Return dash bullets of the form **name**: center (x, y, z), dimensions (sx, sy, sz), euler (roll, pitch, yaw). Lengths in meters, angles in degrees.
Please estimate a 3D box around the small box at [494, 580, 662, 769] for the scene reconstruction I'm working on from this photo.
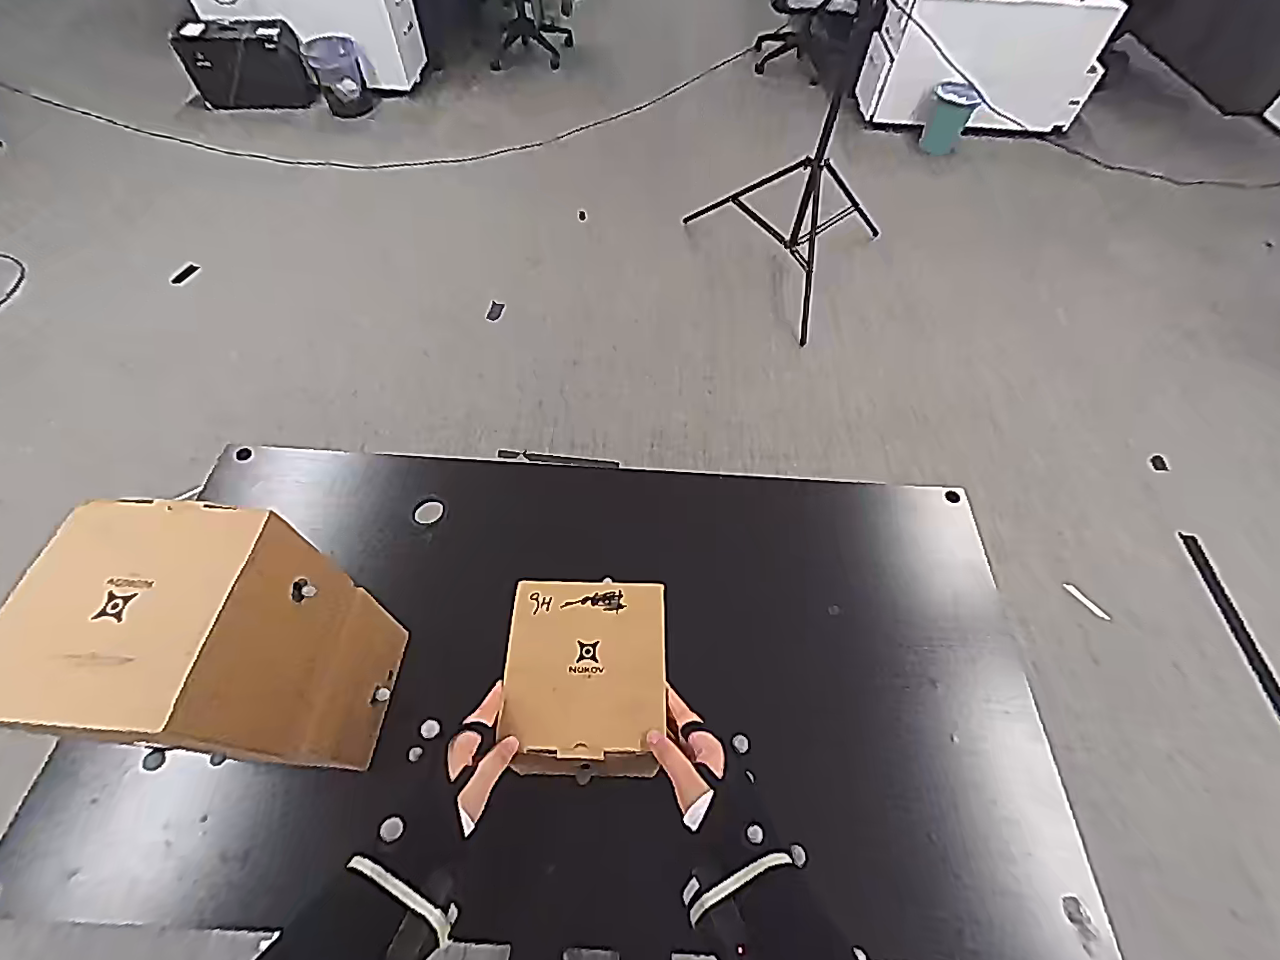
- **small box**: center (-0.060, 0.232, 0.630), dimensions (0.168, 0.176, 0.179), euler (2, 56, -1)

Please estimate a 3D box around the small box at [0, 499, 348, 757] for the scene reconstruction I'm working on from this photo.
- **small box**: center (-0.394, 0.136, 0.483), dimensions (0.168, 0.176, 0.179), euler (3, 58, 1)

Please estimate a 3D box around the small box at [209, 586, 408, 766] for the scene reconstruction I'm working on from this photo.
- **small box**: center (-0.397, 0.224, 0.620), dimensions (0.179, 0.176, 0.168), euler (5, 57, 0)
